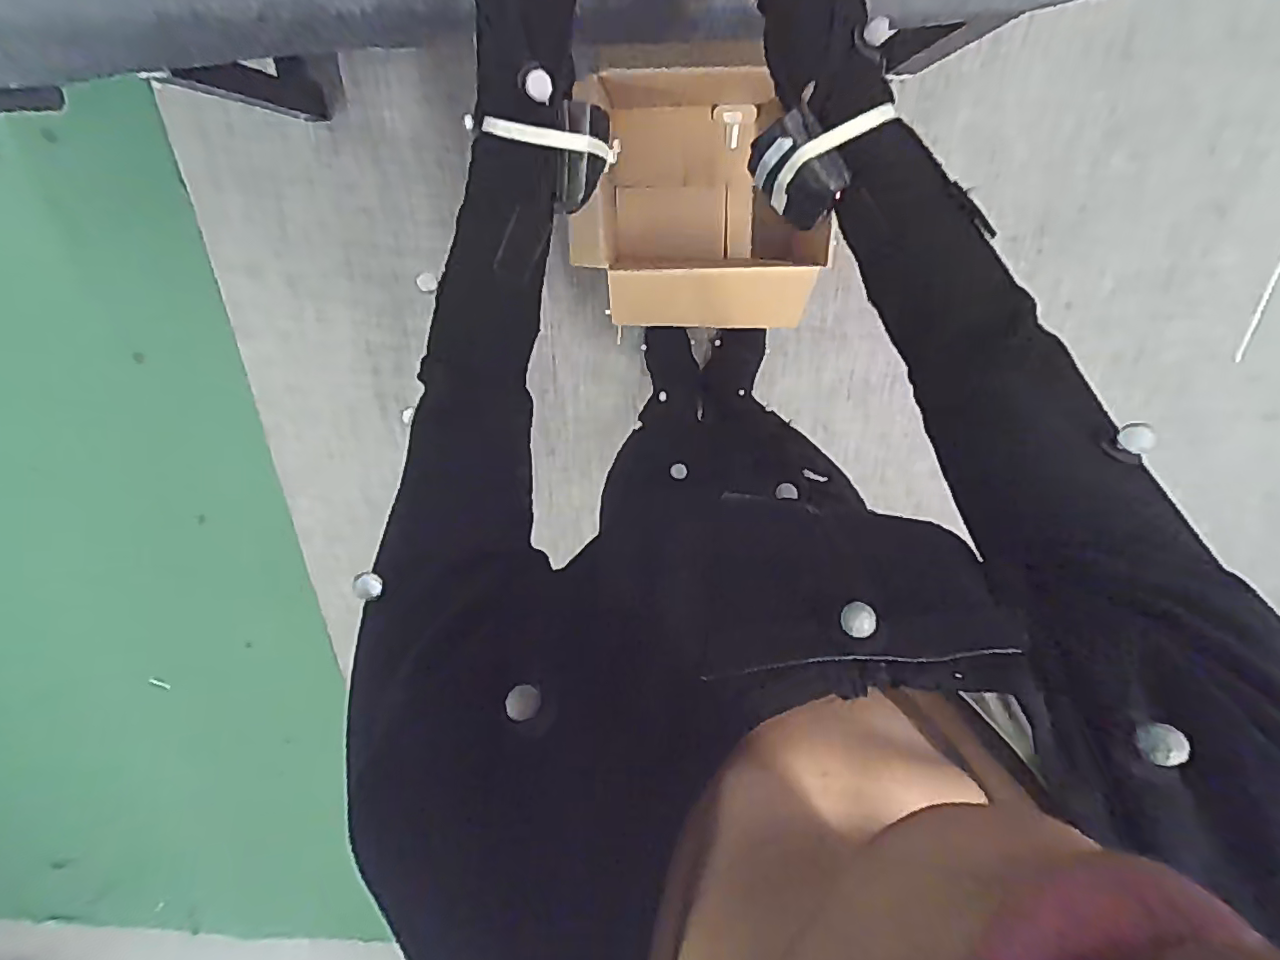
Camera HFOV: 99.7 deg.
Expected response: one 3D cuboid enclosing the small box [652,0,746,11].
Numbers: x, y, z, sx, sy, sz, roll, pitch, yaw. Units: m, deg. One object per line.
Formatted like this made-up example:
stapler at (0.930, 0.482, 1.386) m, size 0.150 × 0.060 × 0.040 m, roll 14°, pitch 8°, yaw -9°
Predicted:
small box at (0.019, -0.444, 0.345) m, size 0.168 × 0.176 × 0.179 m, roll 4°, pitch 118°, yaw -2°
